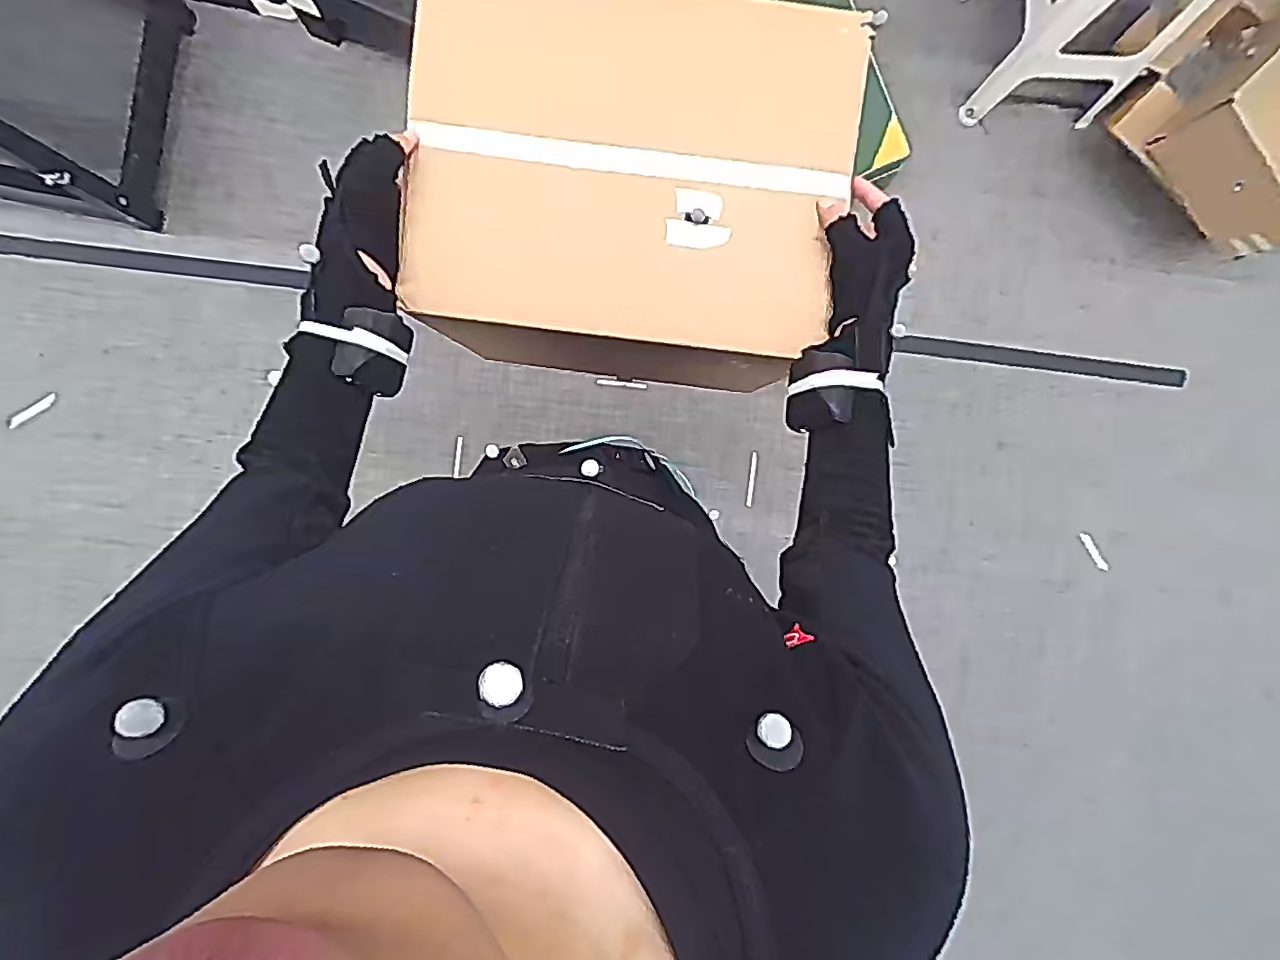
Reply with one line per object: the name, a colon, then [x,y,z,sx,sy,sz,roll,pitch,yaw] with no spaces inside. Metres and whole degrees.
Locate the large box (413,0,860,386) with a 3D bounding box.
large box: [-0.010,-0.303,0.658,0.408,0.320,0.320,7,95,-2]
